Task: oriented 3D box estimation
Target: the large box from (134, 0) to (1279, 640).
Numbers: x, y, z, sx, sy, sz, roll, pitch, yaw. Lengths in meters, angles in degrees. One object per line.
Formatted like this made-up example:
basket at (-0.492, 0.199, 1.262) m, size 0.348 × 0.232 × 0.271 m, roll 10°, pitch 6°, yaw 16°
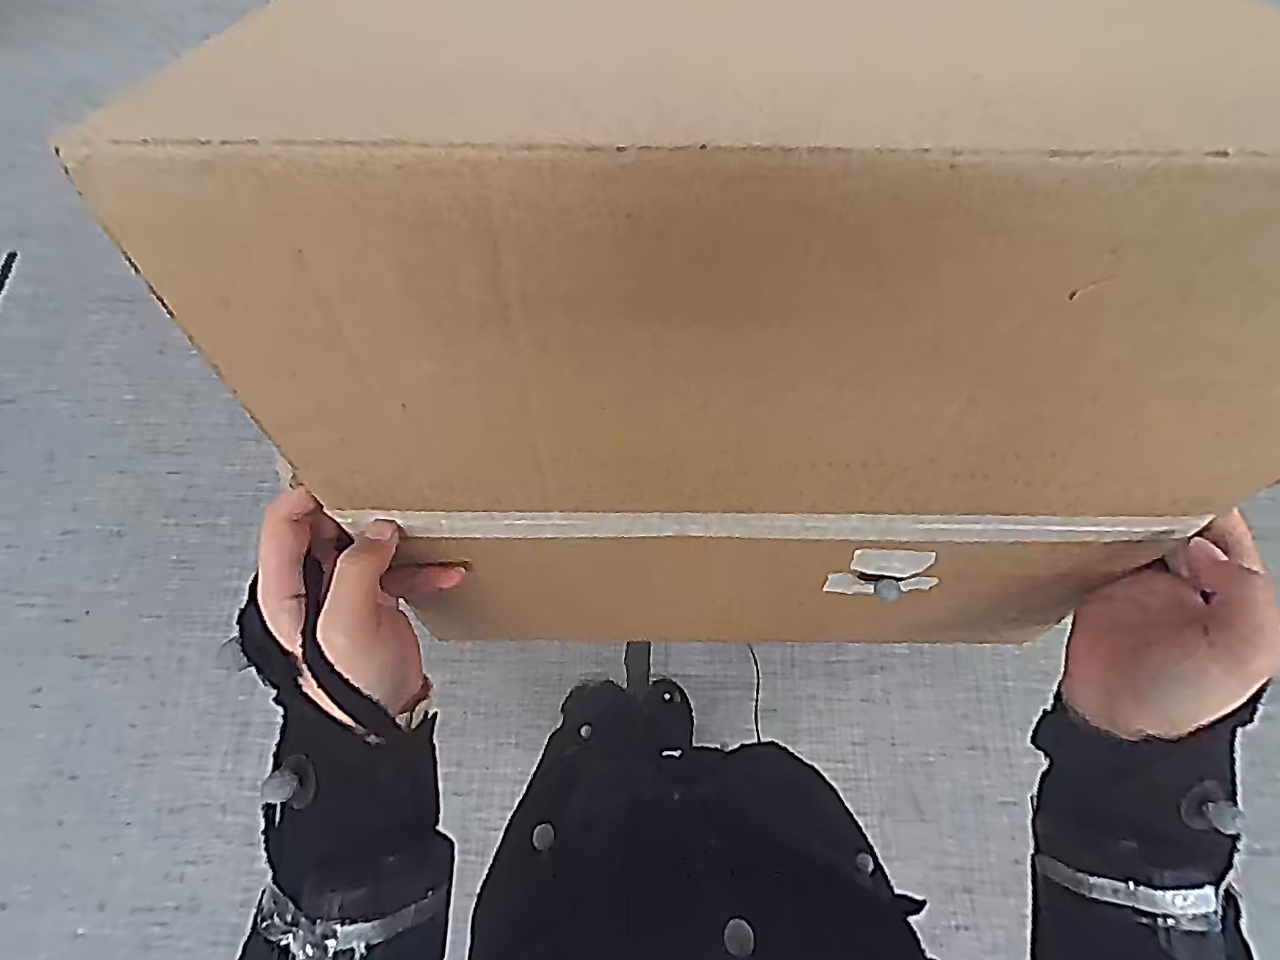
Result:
large box at (0.055, -0.102, 0.353) m, size 0.408 × 0.320 × 0.320 m, roll -1°, pitch 53°, yaw 0°
